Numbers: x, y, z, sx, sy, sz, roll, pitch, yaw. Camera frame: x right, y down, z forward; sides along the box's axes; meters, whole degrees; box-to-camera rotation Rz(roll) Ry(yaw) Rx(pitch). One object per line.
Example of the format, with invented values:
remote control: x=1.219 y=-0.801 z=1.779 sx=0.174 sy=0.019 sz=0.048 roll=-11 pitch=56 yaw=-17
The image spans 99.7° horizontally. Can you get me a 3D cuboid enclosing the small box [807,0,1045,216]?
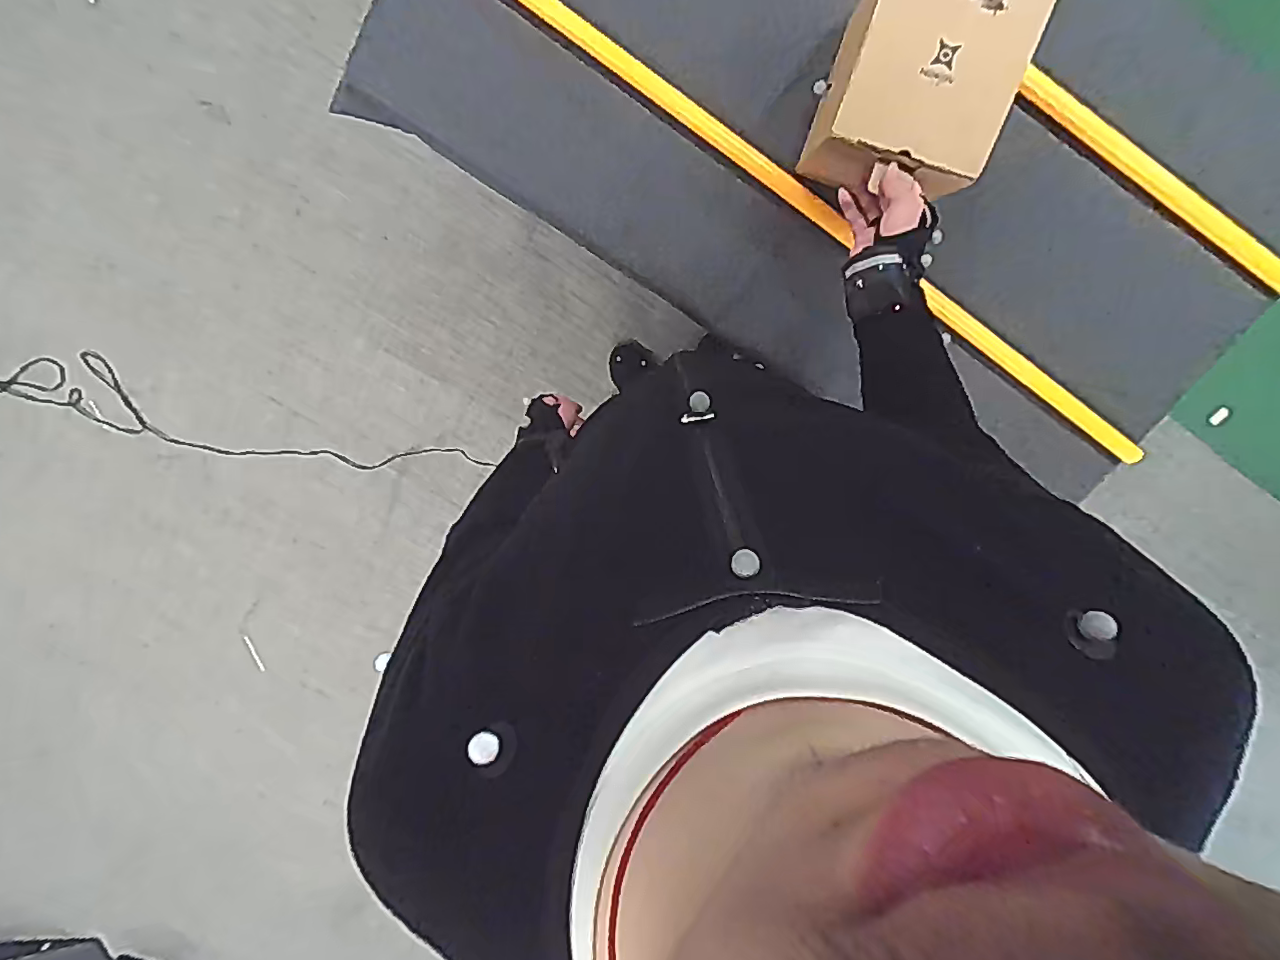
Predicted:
small box: x=0.308 y=-0.429 z=0.631 sx=0.168 sy=0.176 sz=0.179 roll=15 pitch=106 yaw=2
